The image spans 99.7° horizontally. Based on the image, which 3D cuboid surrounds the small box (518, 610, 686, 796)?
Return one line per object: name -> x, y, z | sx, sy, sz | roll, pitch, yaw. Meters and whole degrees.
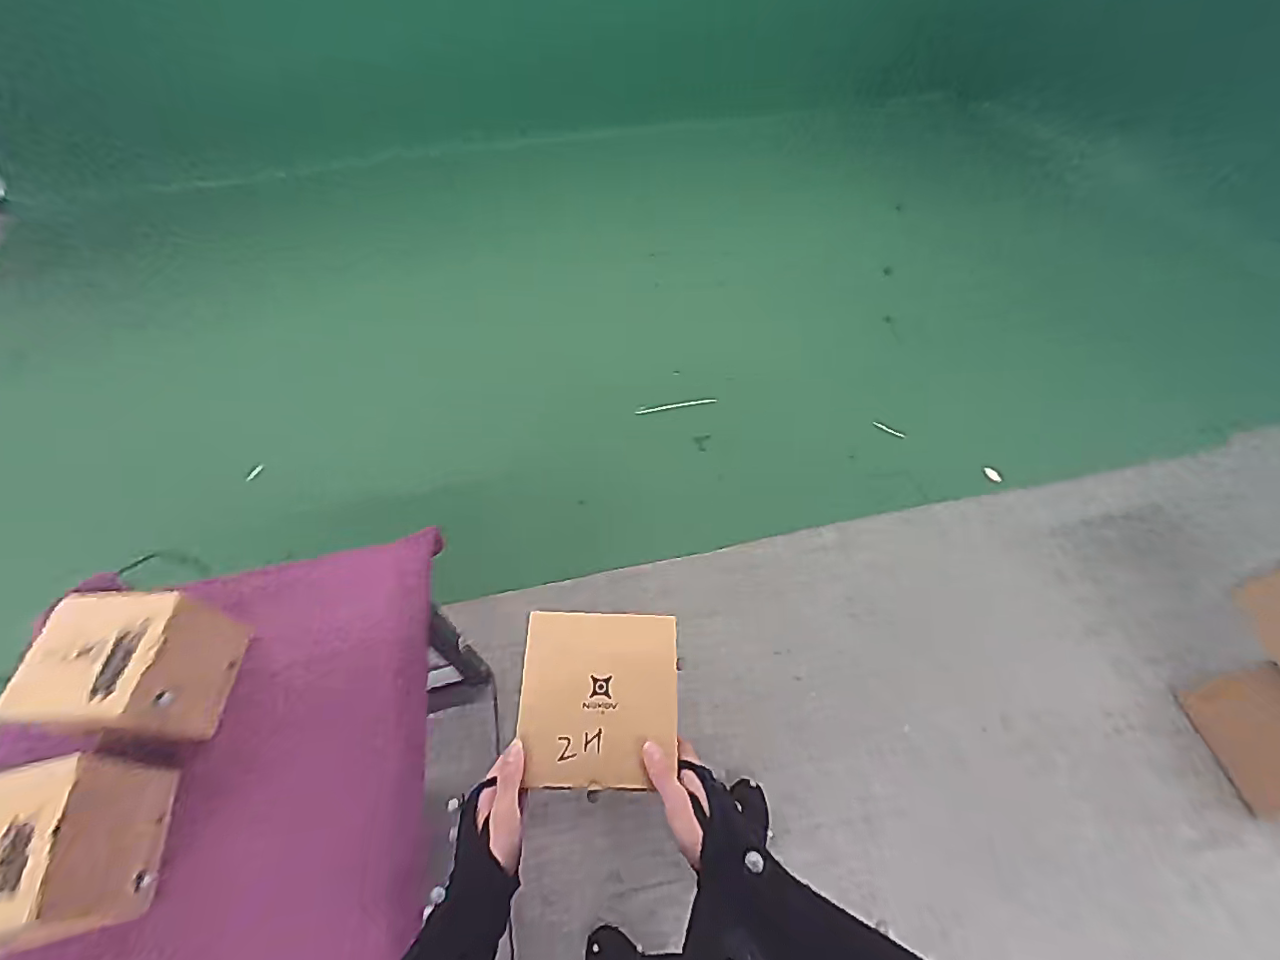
small box -> -0.039, 0.265, 0.637 | 0.168, 0.176, 0.179 | 4, 62, -1
